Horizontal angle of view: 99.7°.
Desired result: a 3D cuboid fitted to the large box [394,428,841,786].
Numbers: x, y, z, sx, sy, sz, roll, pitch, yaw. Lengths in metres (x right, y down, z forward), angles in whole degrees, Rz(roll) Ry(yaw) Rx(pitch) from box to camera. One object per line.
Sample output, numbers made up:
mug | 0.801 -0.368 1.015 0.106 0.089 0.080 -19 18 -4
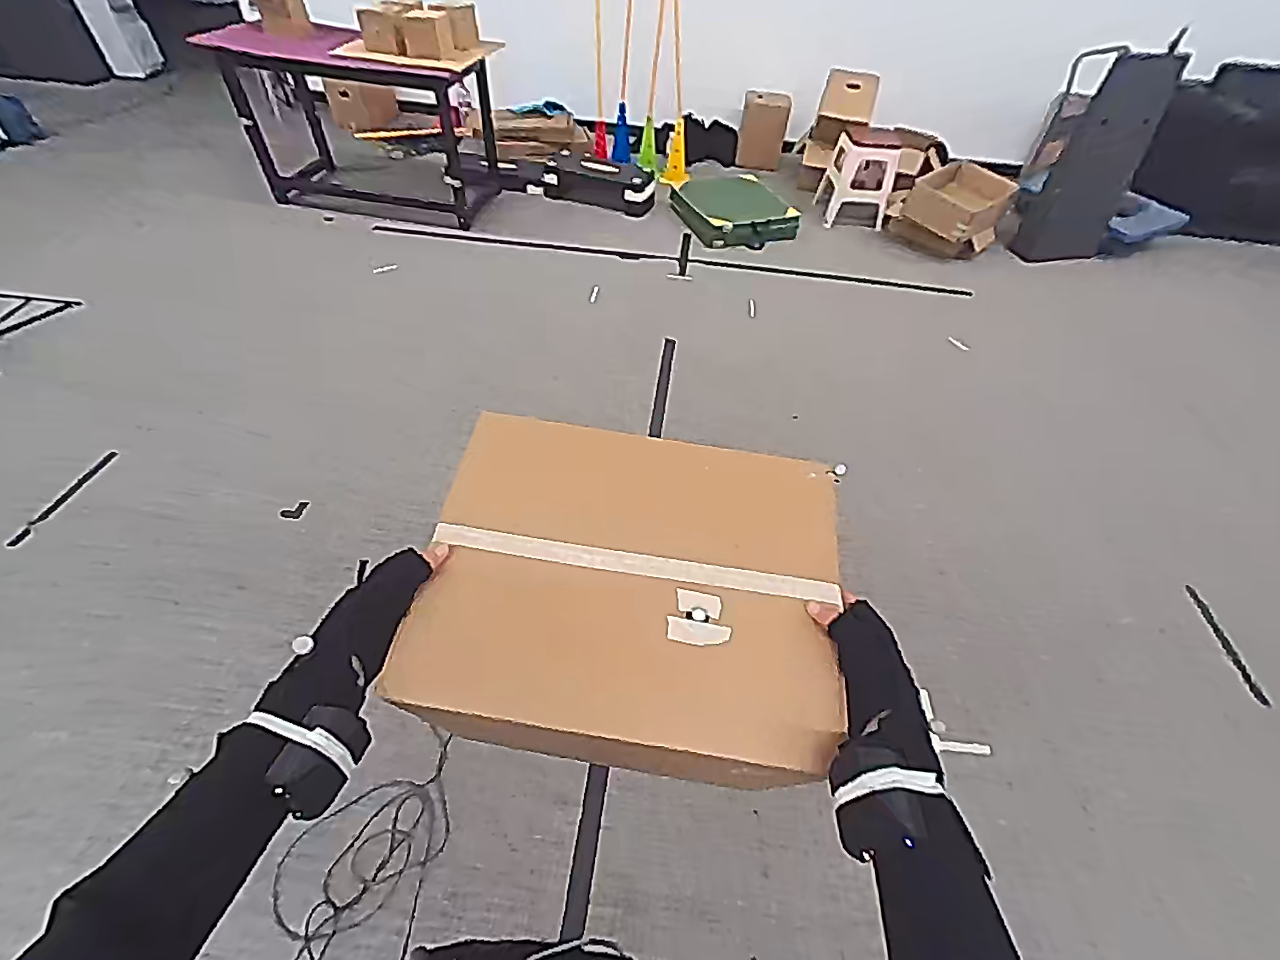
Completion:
large box | -0.012 0.171 0.671 0.408 0.320 0.320 9 59 2
